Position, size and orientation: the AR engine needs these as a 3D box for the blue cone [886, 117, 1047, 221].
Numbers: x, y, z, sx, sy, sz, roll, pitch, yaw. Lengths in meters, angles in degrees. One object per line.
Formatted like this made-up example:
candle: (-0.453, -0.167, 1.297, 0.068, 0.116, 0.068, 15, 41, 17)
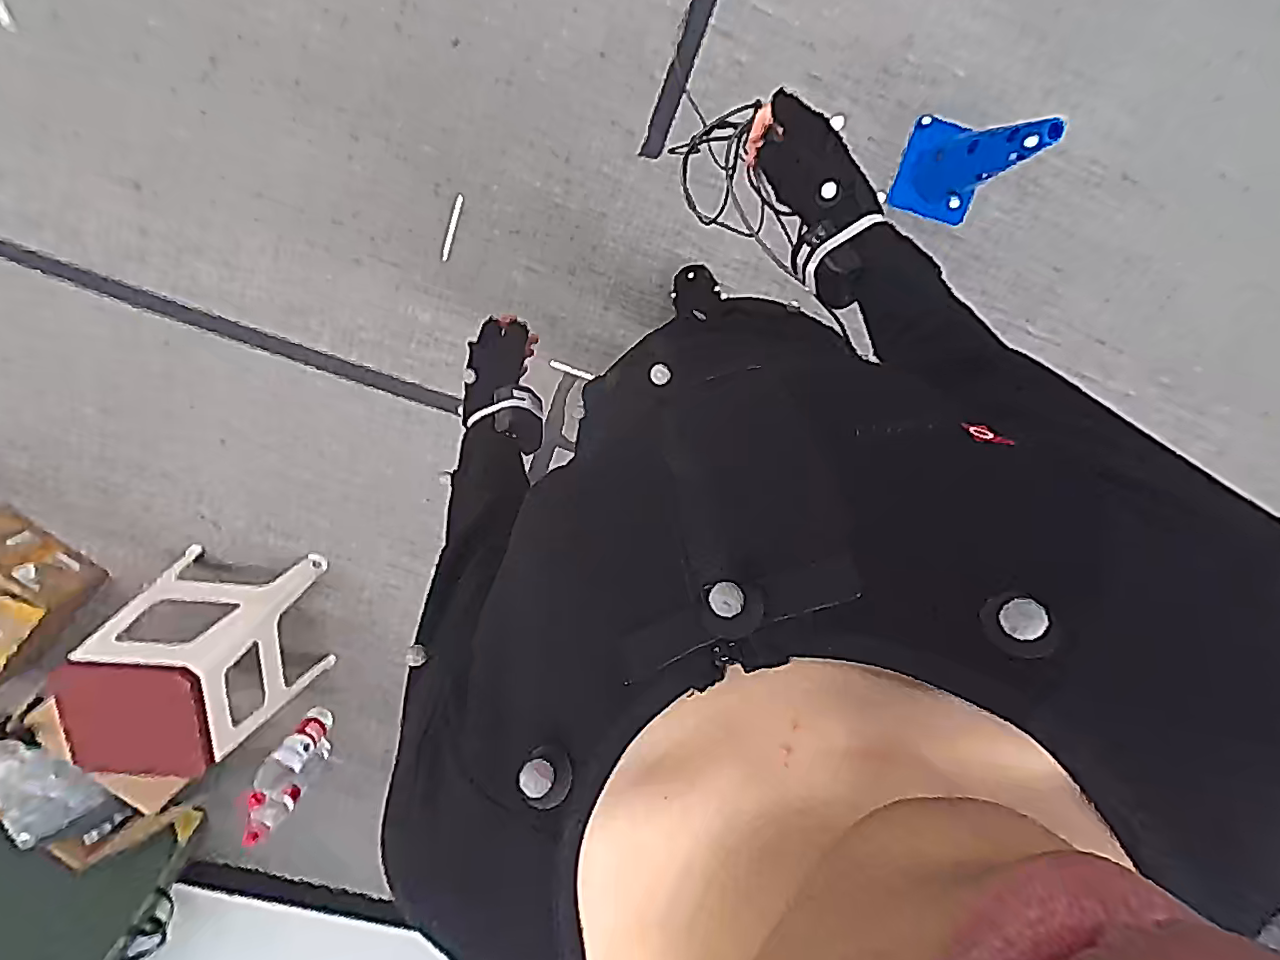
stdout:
blue cone: (0.703, -0.676, 1.126, 0.192, 0.380, 0.193, 15, 108, -7)
